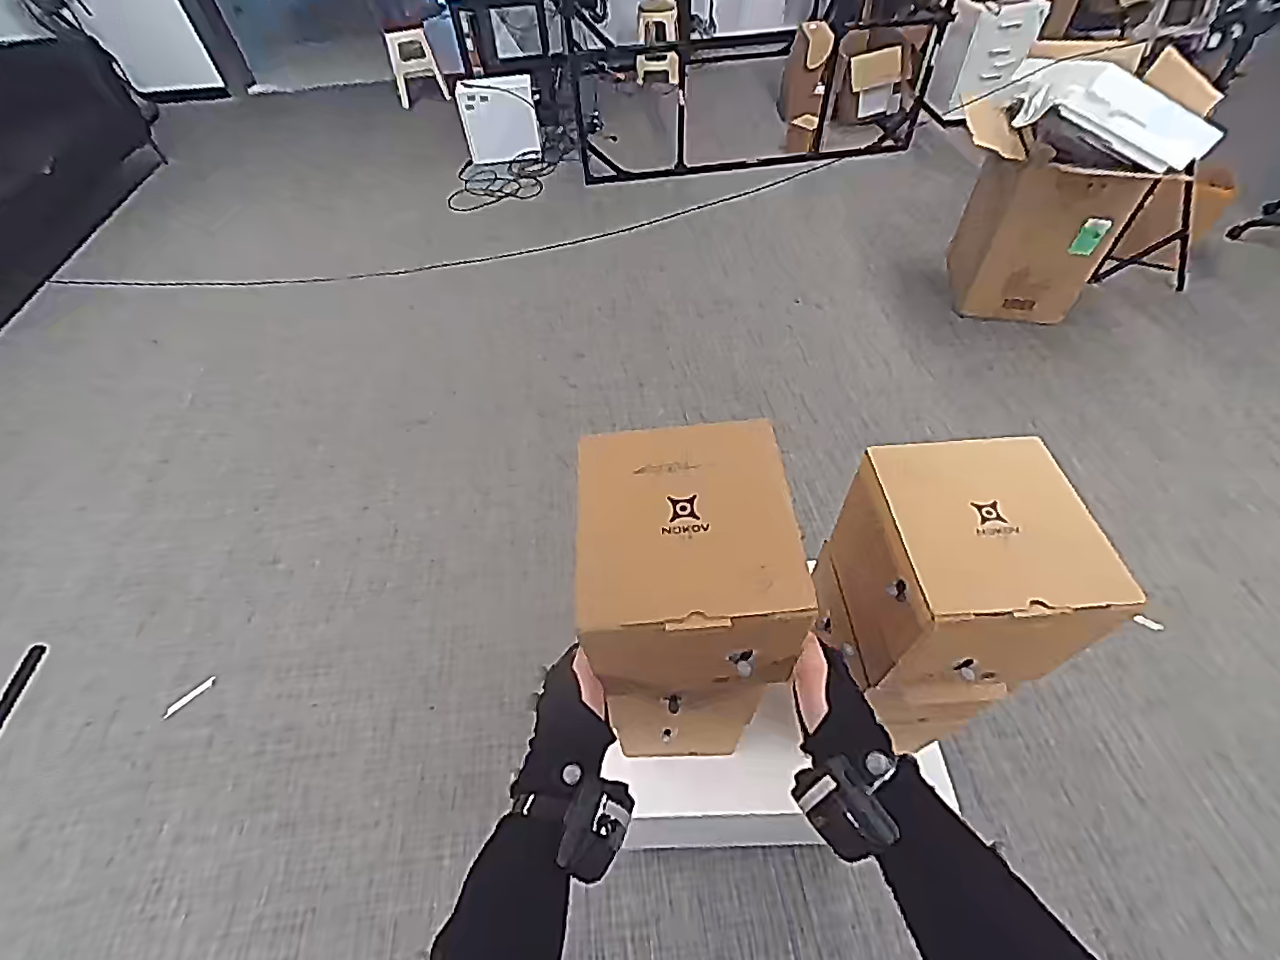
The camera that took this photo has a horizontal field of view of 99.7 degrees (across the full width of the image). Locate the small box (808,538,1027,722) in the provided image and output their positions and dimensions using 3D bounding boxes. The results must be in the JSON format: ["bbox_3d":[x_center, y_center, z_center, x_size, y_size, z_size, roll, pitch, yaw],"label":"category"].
[{"bbox_3d":[0.307,0.181,0.651,0.168,0.176,0.179,-4,51,1],"label":"small box"}]

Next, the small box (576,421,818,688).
[{"bbox_3d":[0.041,0.073,0.471,0.168,0.176,0.179,-4,54,1],"label":"small box"}]

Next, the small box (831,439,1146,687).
[{"bbox_3d":[0.300,0.083,0.521,0.168,0.176,0.179,-4,53,0],"label":"small box"}]

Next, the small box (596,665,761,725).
[{"bbox_3d":[0.046,0.192,0.657,0.179,0.176,0.168,-2,53,1],"label":"small box"}]

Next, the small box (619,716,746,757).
[{"bbox_3d":[0.054,0.290,0.790,0.168,0.176,0.179,-2,51,2],"label":"small box"}]
